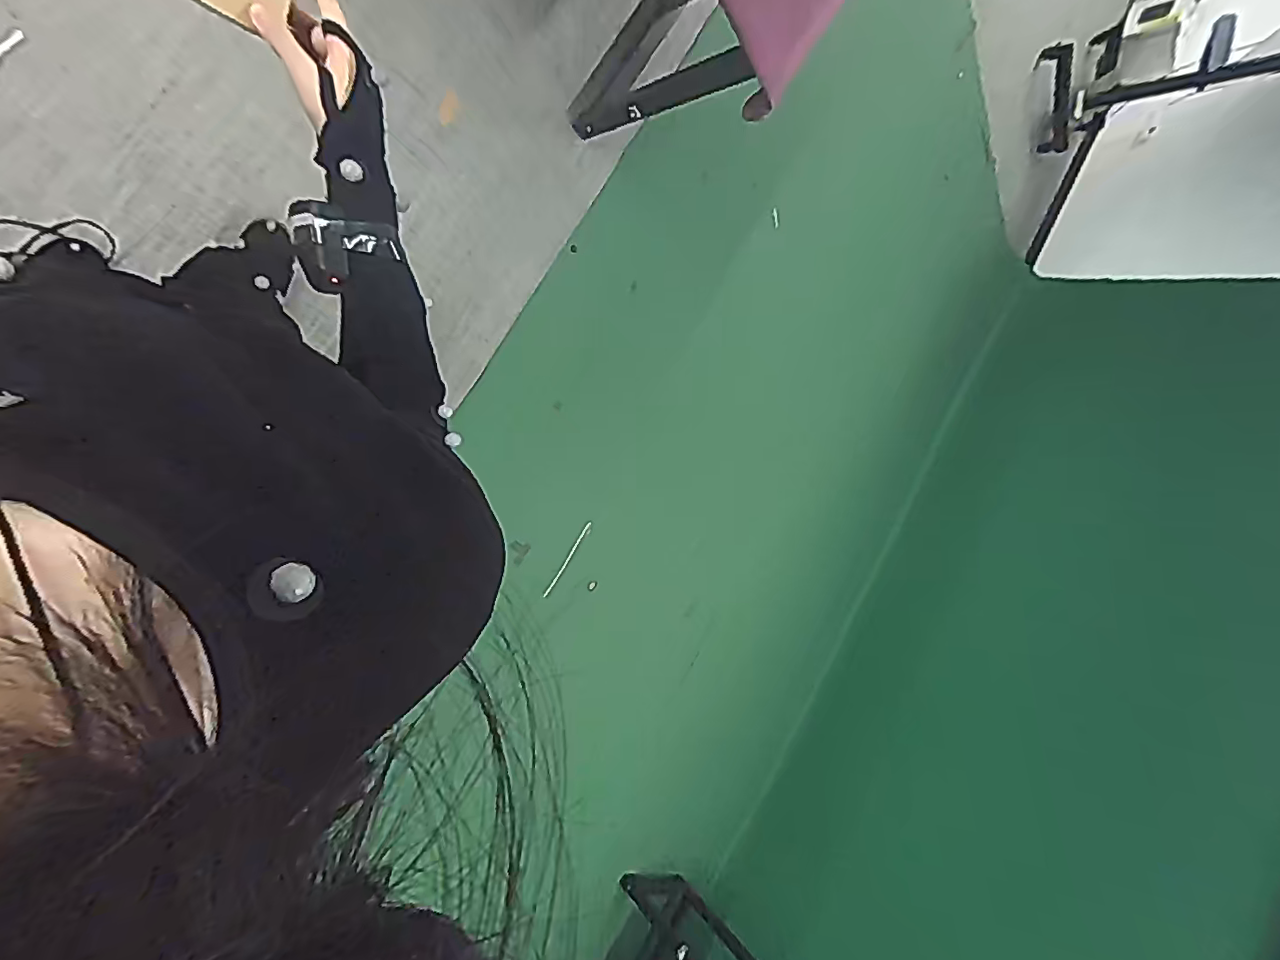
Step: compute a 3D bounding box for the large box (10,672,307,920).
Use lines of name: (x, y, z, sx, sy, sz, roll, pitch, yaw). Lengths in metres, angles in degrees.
large box: (-1.041, 0.646, 1.200, 0.408, 0.320, 0.320, 18, 92, -45)

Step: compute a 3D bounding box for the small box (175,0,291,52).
small box: (-0.344, -0.444, 0.369, 0.179, 0.176, 0.168, 5, 120, -47)
